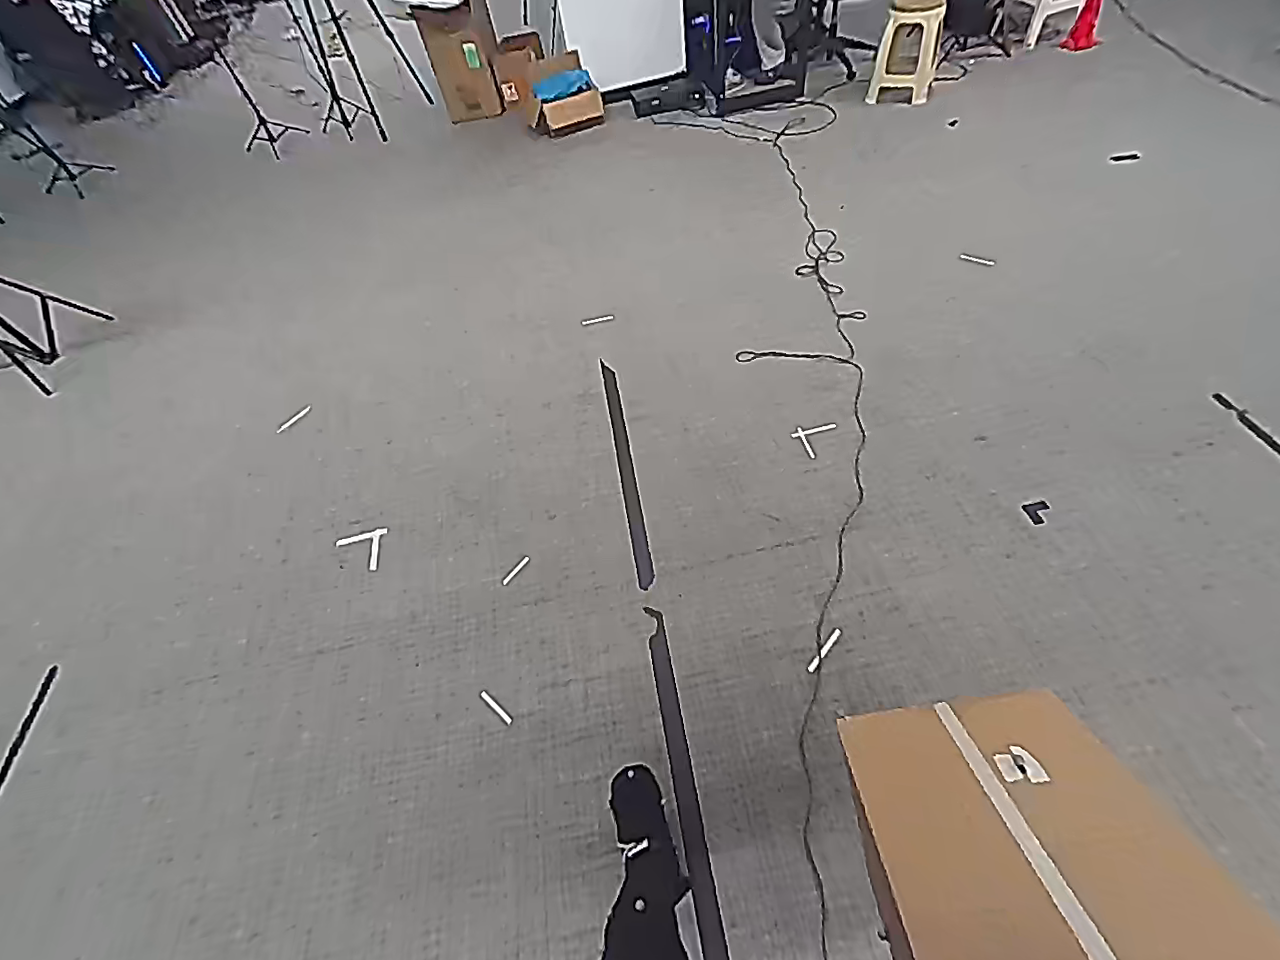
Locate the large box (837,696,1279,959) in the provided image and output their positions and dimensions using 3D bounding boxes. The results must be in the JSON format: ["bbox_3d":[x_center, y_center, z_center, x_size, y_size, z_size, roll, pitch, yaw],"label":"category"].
[{"bbox_3d":[0.479,0.549,0.681,0.320,0.320,0.408,-12,13,9],"label":"large box"}]
